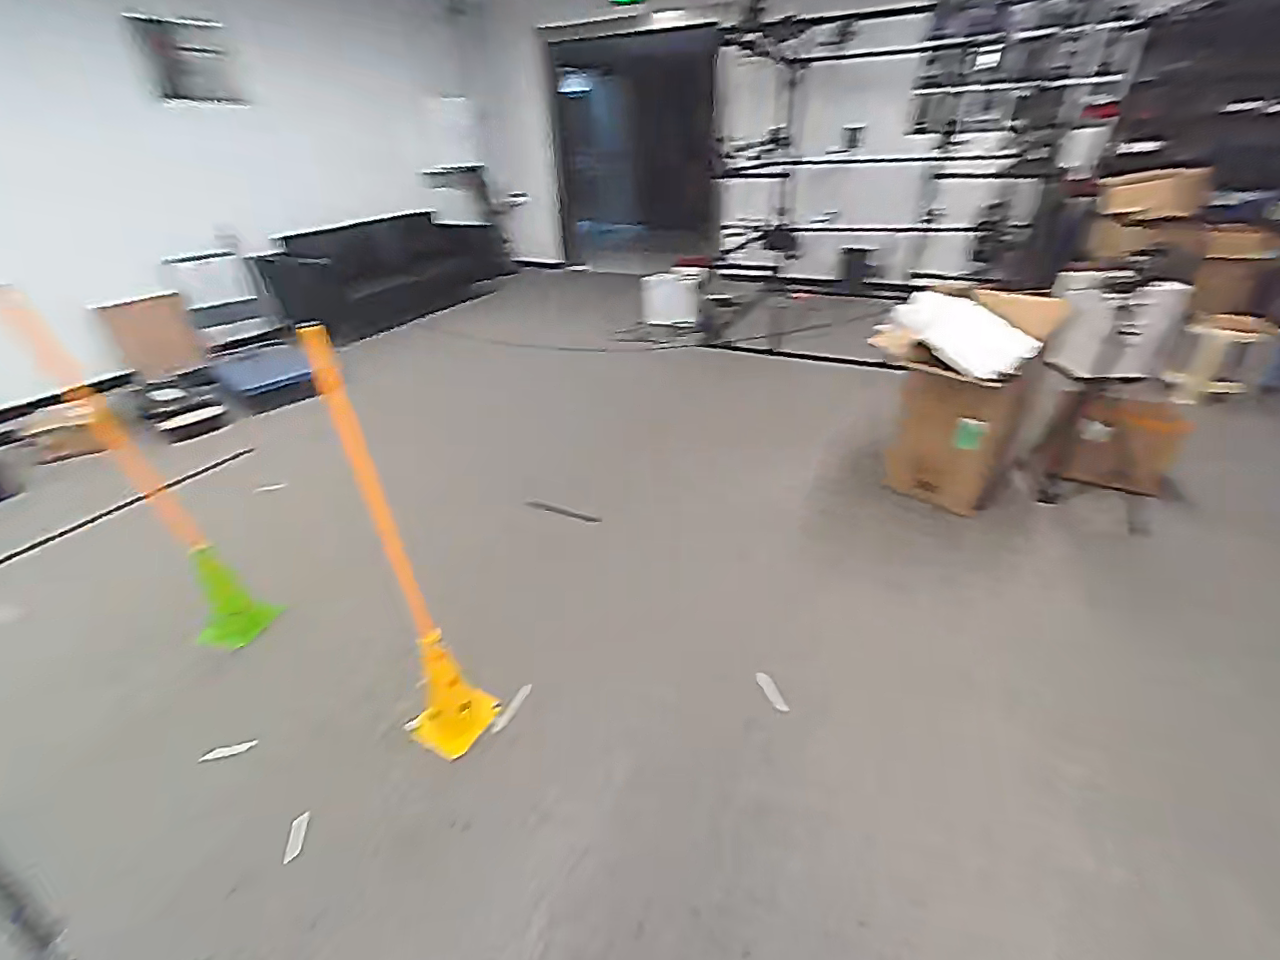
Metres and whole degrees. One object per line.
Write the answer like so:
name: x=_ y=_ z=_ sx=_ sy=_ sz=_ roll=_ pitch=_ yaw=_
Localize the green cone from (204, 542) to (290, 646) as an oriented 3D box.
green cone: x=-1.423 y=0.369 z=1.878 sx=0.202 sy=0.368 sz=0.200 roll=9 pitch=34 yaw=14
